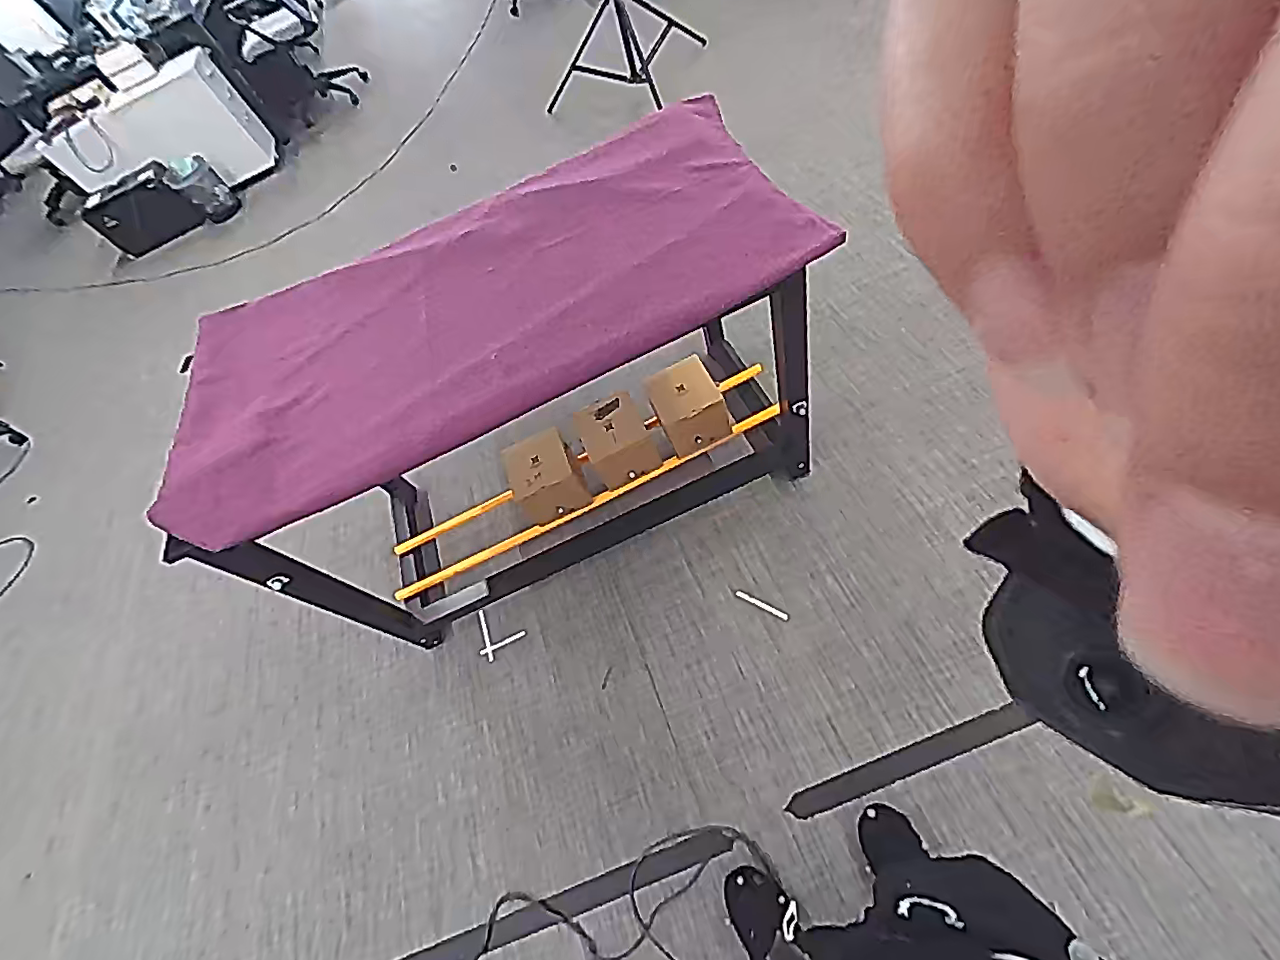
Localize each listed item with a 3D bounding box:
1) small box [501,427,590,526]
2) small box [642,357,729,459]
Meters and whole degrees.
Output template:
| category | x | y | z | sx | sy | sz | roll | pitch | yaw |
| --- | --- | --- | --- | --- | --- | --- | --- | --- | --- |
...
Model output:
| category | x | y | z | sx | sy | sz | roll | pitch | yaw |
| --- | --- | --- | --- | --- | --- | --- | --- | --- | --- |
| small box | -0.253 | -0.005 | 1.465 | 0.168 | 0.176 | 0.179 | -24 | 58 | 2 |
| small box | 0.124 | -0.190 | 1.453 | 0.168 | 0.176 | 0.179 | -26 | 58 | 2 |
